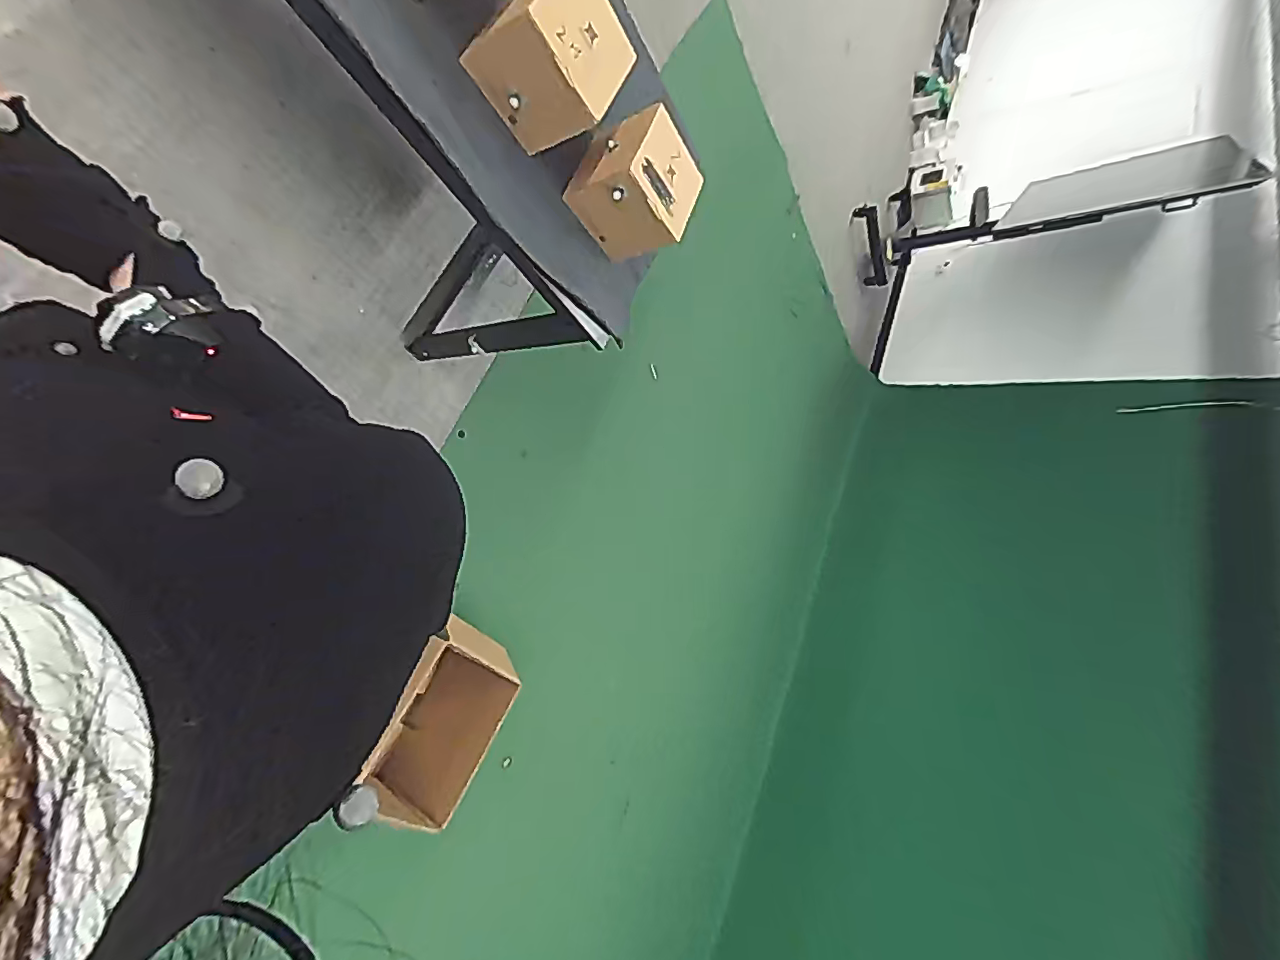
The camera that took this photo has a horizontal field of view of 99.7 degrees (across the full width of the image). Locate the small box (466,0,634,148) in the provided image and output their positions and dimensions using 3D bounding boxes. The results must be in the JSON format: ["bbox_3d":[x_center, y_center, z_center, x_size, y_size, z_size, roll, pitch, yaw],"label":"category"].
[{"bbox_3d":[-0.143,-0.676,0.858,0.168,0.176,0.179,43,62,-44],"label":"small box"}]
